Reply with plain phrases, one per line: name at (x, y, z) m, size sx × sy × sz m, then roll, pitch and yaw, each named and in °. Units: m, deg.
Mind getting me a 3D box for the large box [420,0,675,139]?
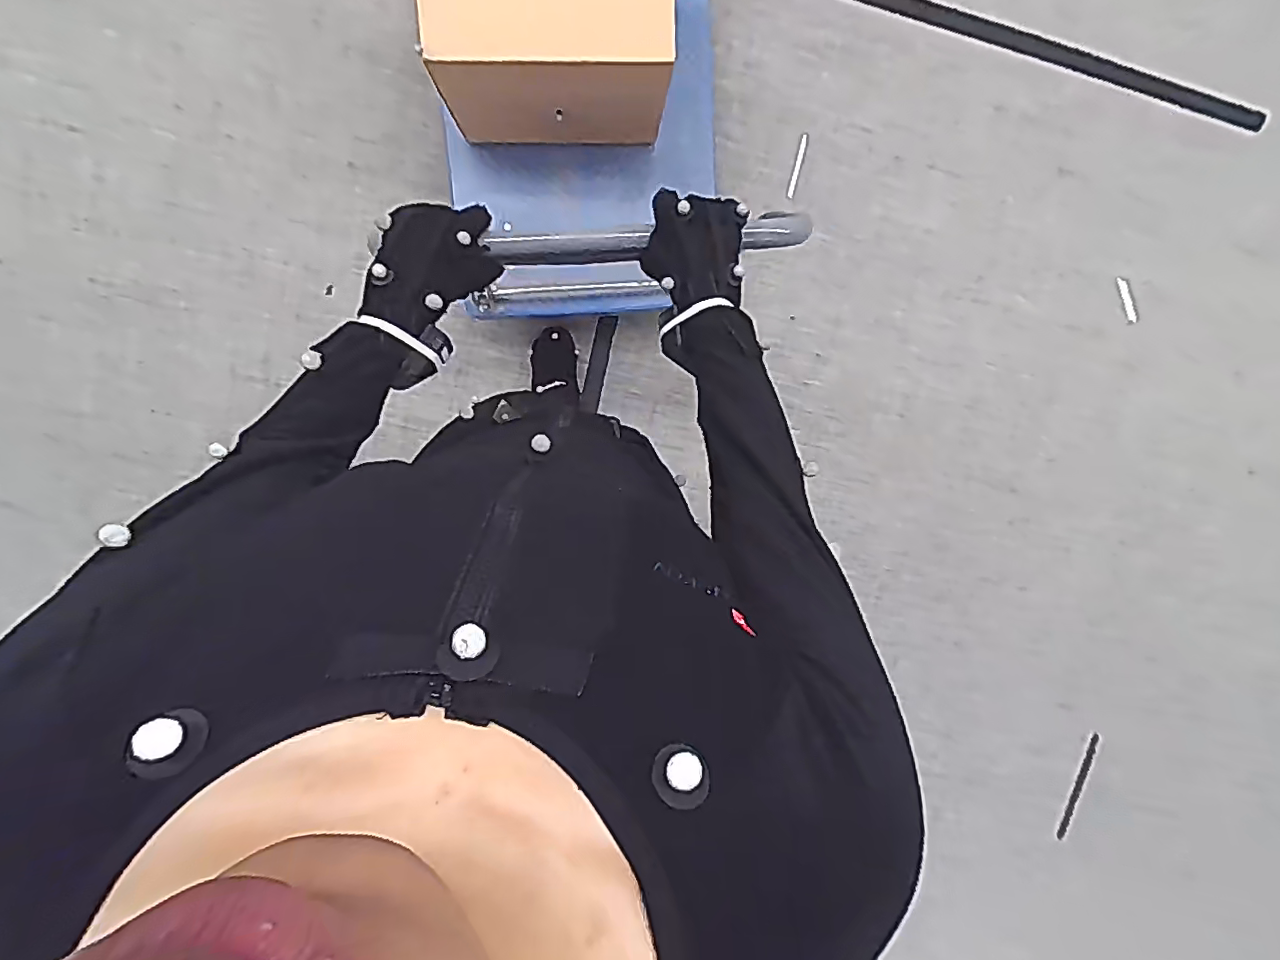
large box at (-0.155, -0.850, 0.982) m, size 0.408 × 0.320 × 0.320 m, roll -2°, pitch 101°, yaw -3°
